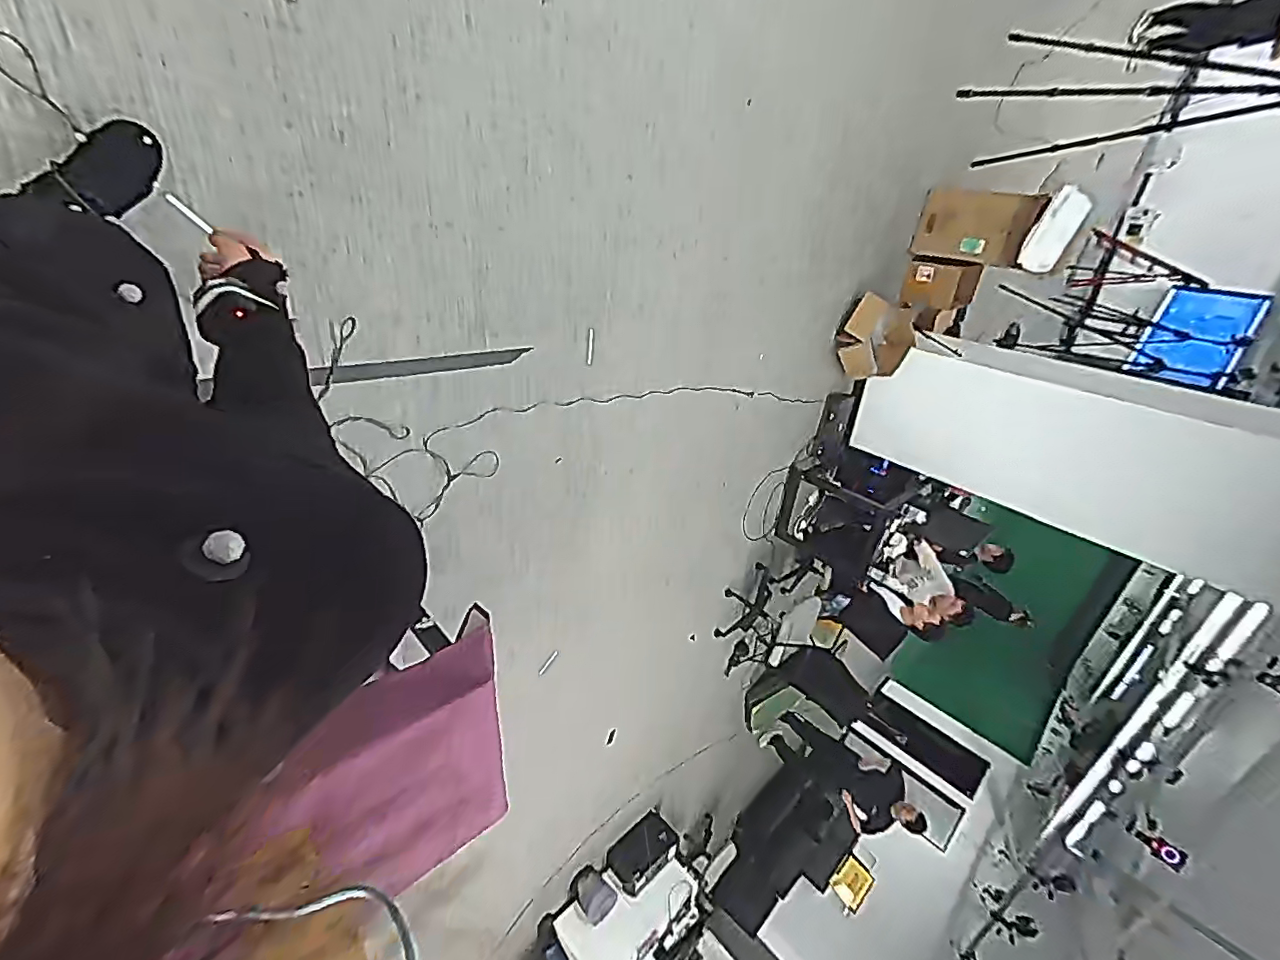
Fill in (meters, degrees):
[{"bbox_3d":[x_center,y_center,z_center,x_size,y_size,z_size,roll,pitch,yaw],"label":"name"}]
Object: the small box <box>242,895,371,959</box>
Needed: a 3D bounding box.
[{"bbox_3d":[-0.598,0.917,0.979,0.179,0.176,0.168,-18,125,-42],"label":"small box"}]
